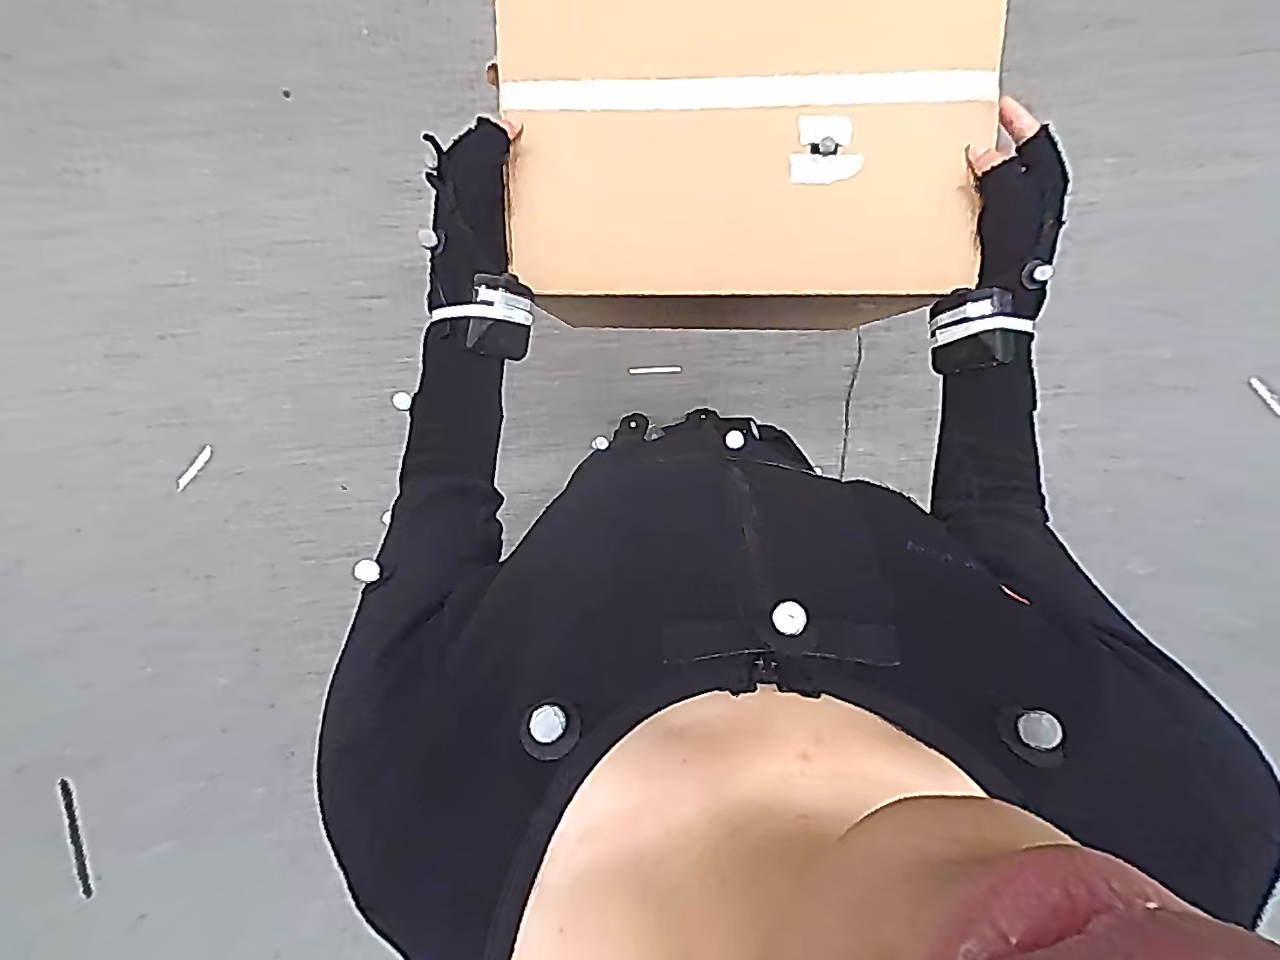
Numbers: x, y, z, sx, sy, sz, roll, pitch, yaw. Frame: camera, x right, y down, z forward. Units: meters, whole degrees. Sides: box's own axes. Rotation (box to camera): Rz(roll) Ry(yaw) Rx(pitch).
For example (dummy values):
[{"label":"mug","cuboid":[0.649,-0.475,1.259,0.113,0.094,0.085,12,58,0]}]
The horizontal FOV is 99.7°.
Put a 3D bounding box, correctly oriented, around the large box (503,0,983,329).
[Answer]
[{"label":"large box","cuboid":[0.087,-0.348,0.609,0.408,0.320,0.320,0,101,2]}]
